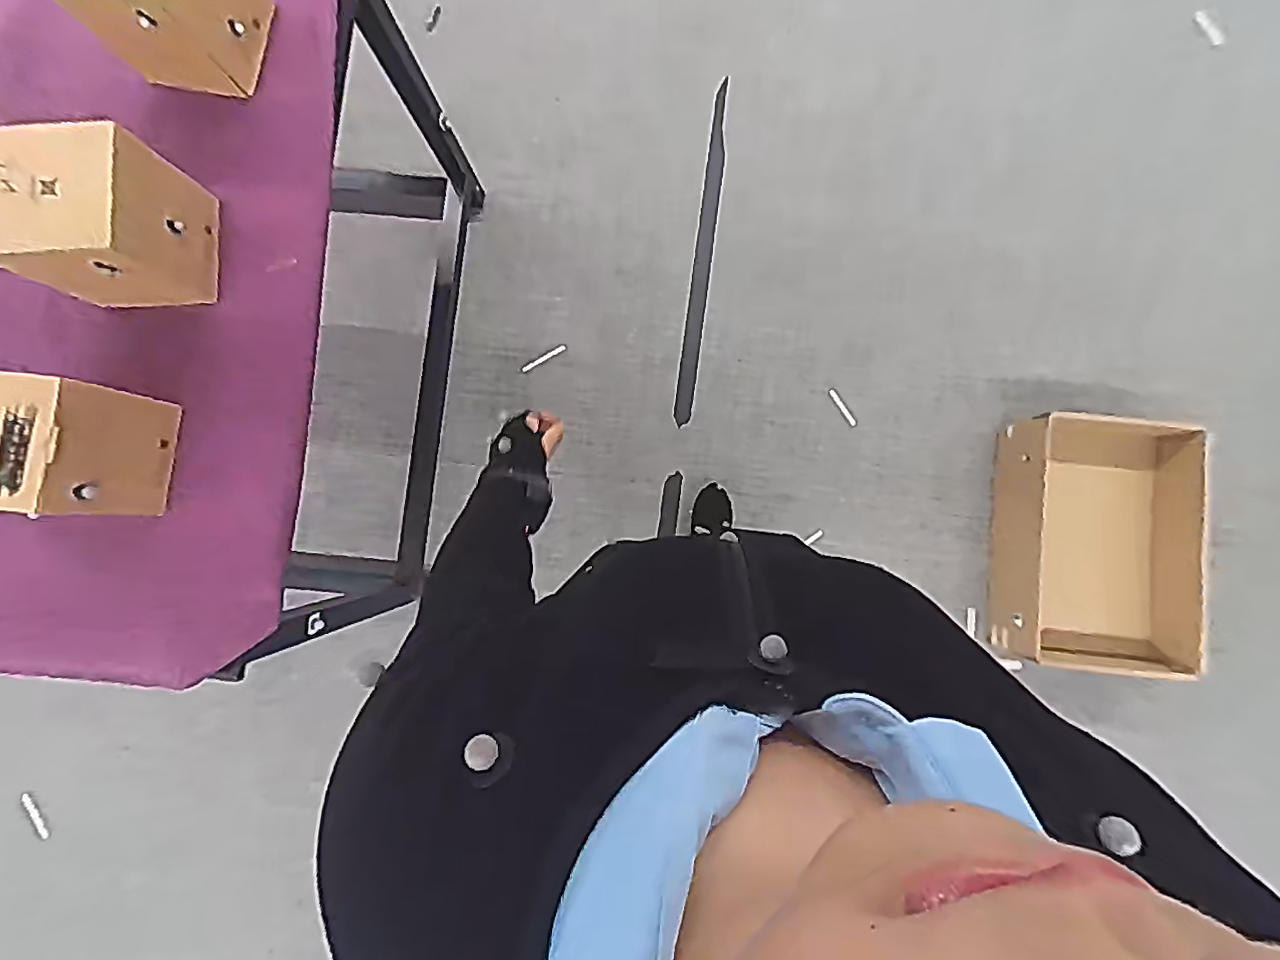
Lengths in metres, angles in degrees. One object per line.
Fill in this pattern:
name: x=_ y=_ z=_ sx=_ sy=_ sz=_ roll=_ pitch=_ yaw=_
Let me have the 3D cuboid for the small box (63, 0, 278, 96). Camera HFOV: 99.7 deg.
small box: x=-0.670 y=-0.689 z=0.768 sx=0.179 sy=0.176 sz=0.168 roll=11 pitch=86 yaw=3

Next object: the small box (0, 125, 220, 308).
small box: x=-0.722 y=-0.349 z=0.743 sx=0.179 sy=0.176 sz=0.168 roll=-3 pitch=85 yaw=1
